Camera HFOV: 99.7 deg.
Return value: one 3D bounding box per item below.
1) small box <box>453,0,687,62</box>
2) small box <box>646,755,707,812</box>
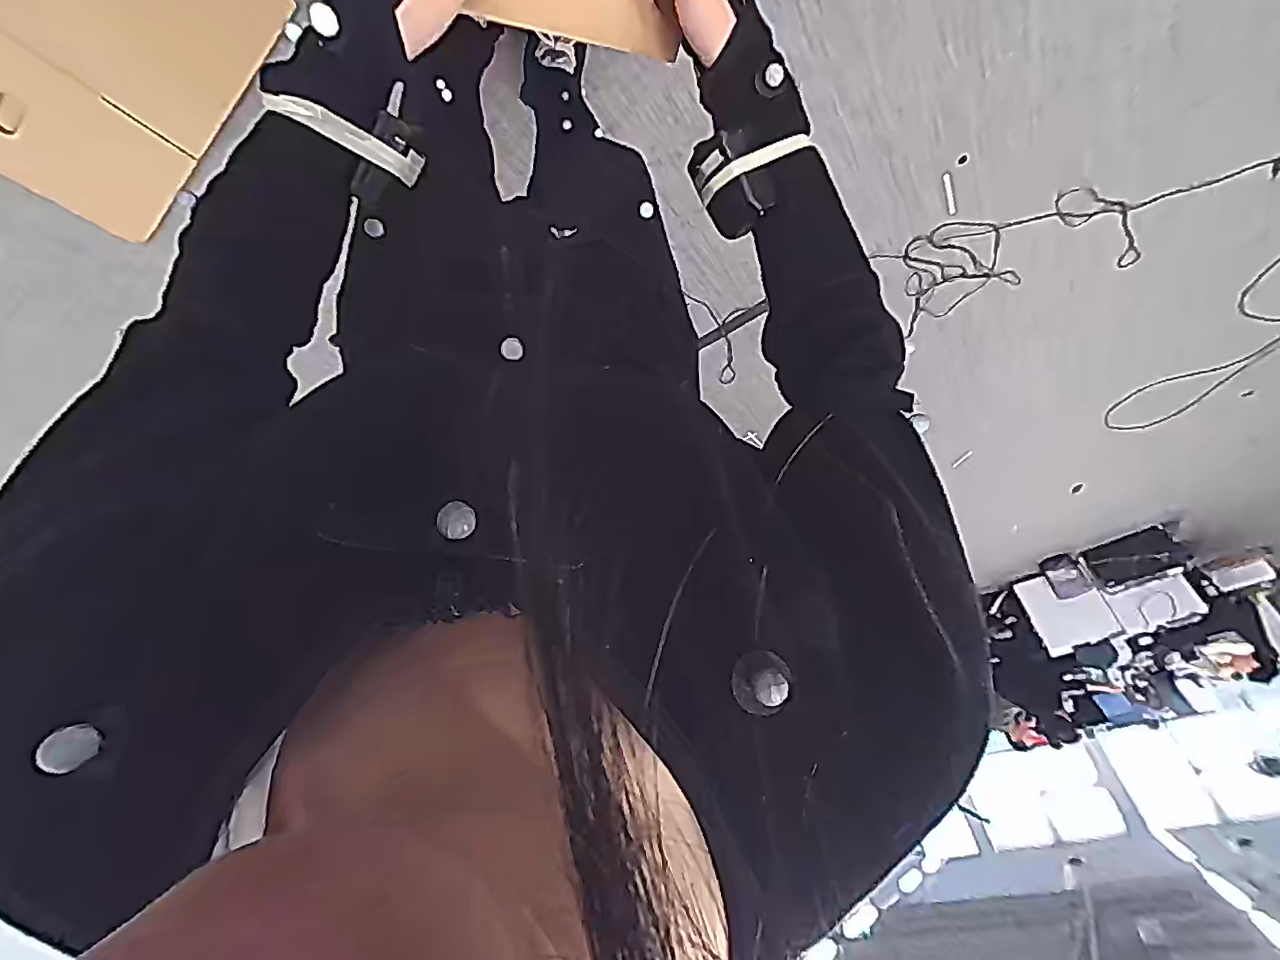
[{"bbox_3d":[-0.044,-0.442,0.376,0.168,0.176,0.179,0,144,-17],"label":"small box"},{"bbox_3d":[0.137,1.192,2.122,0.179,0.176,0.168,-27,144,23],"label":"small box"}]
